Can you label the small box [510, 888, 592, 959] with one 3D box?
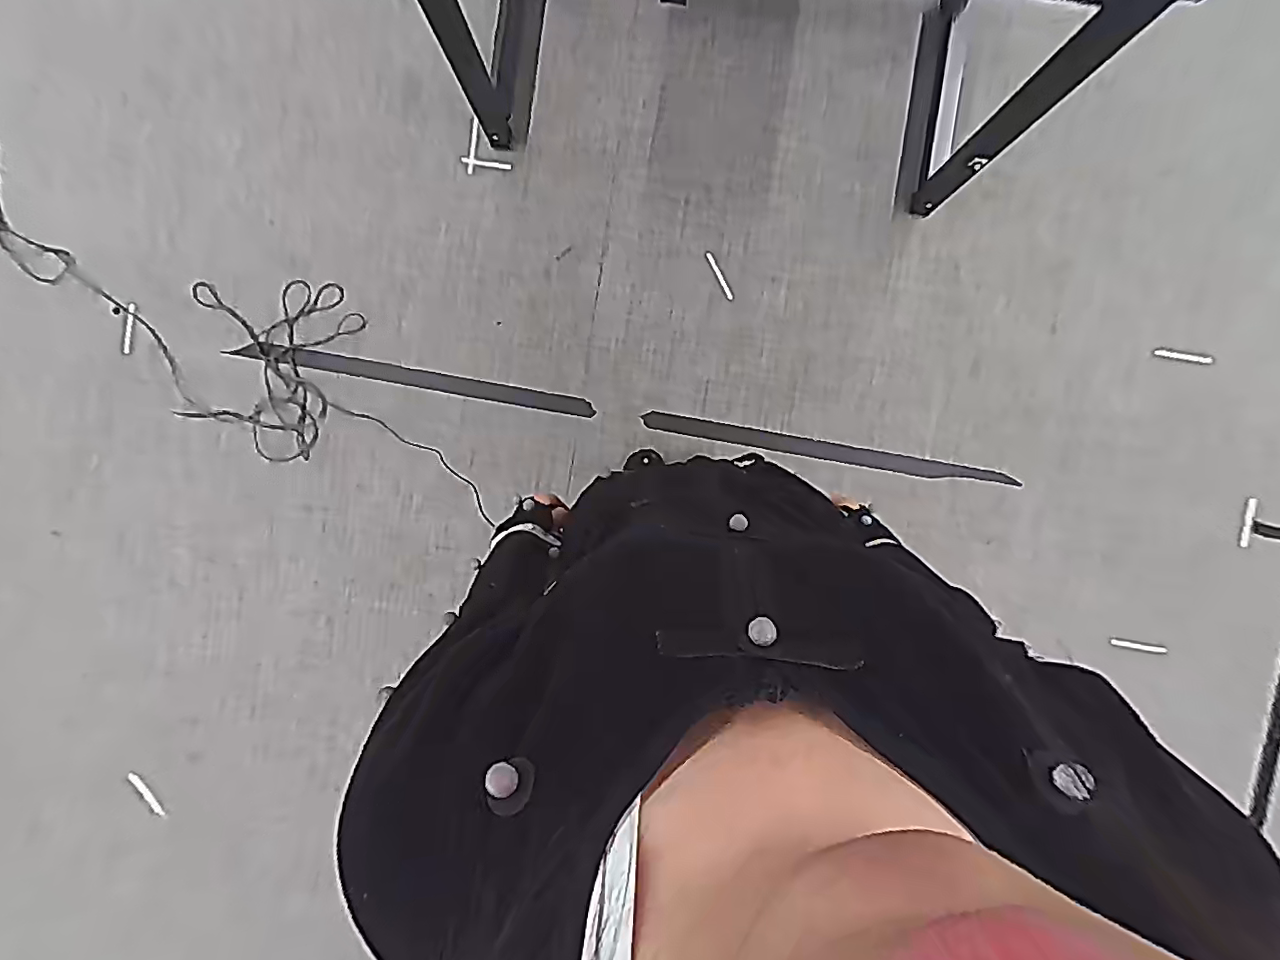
[{"bbox_3d":[-0.210,1.123,1.298,0.179,0.176,0.168,5,93,0],"label":"small box"}]
